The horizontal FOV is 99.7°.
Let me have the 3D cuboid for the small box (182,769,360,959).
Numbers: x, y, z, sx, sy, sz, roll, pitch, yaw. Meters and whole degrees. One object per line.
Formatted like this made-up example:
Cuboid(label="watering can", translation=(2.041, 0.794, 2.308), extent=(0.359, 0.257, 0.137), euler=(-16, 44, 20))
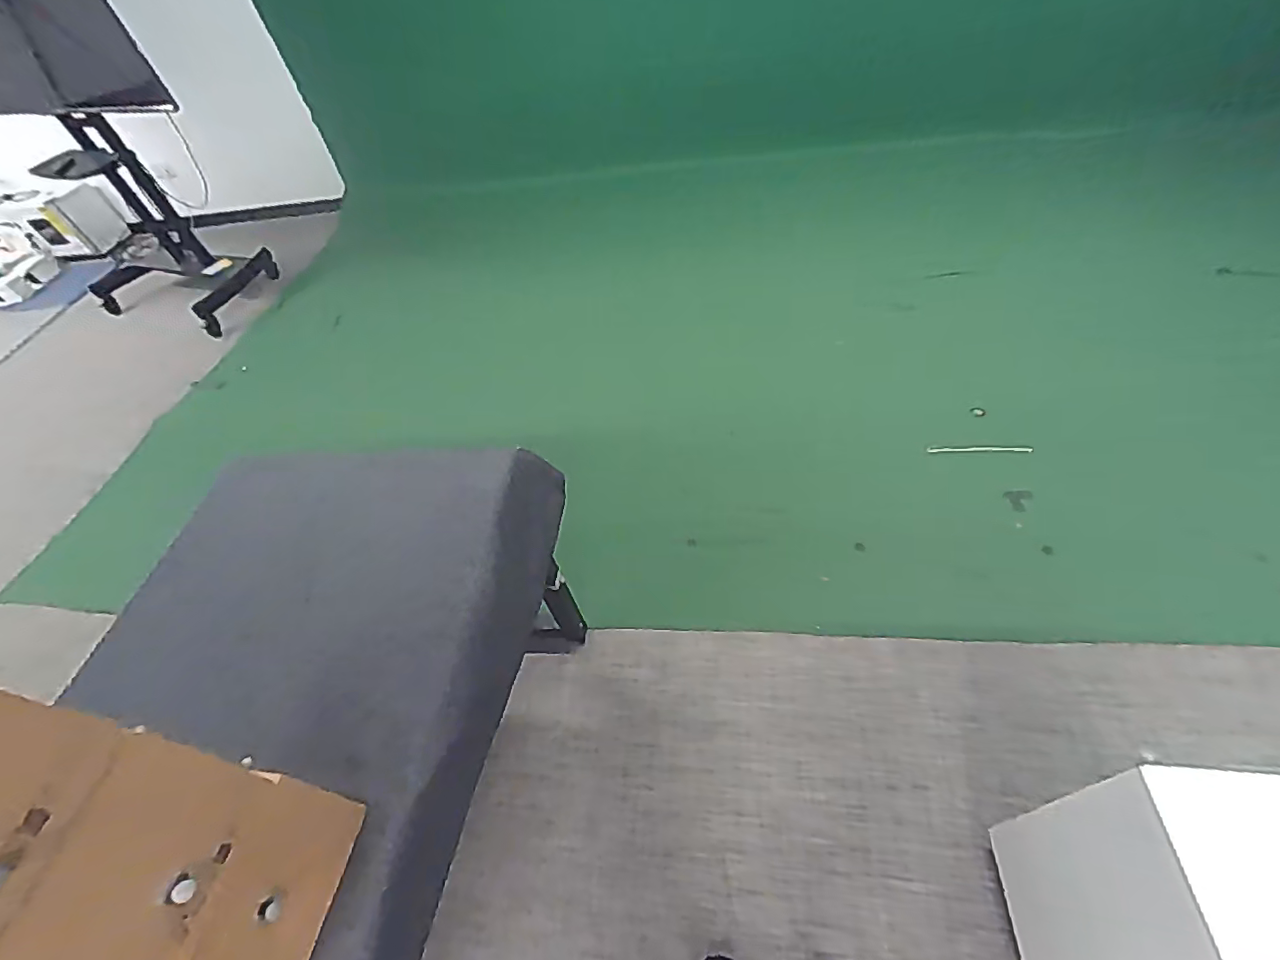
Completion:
Cuboid(label="small box", translation=(-0.431, 0.403, 0.558), extent=(0.168, 0.176, 0.179), euler=(0, 51, 12))
